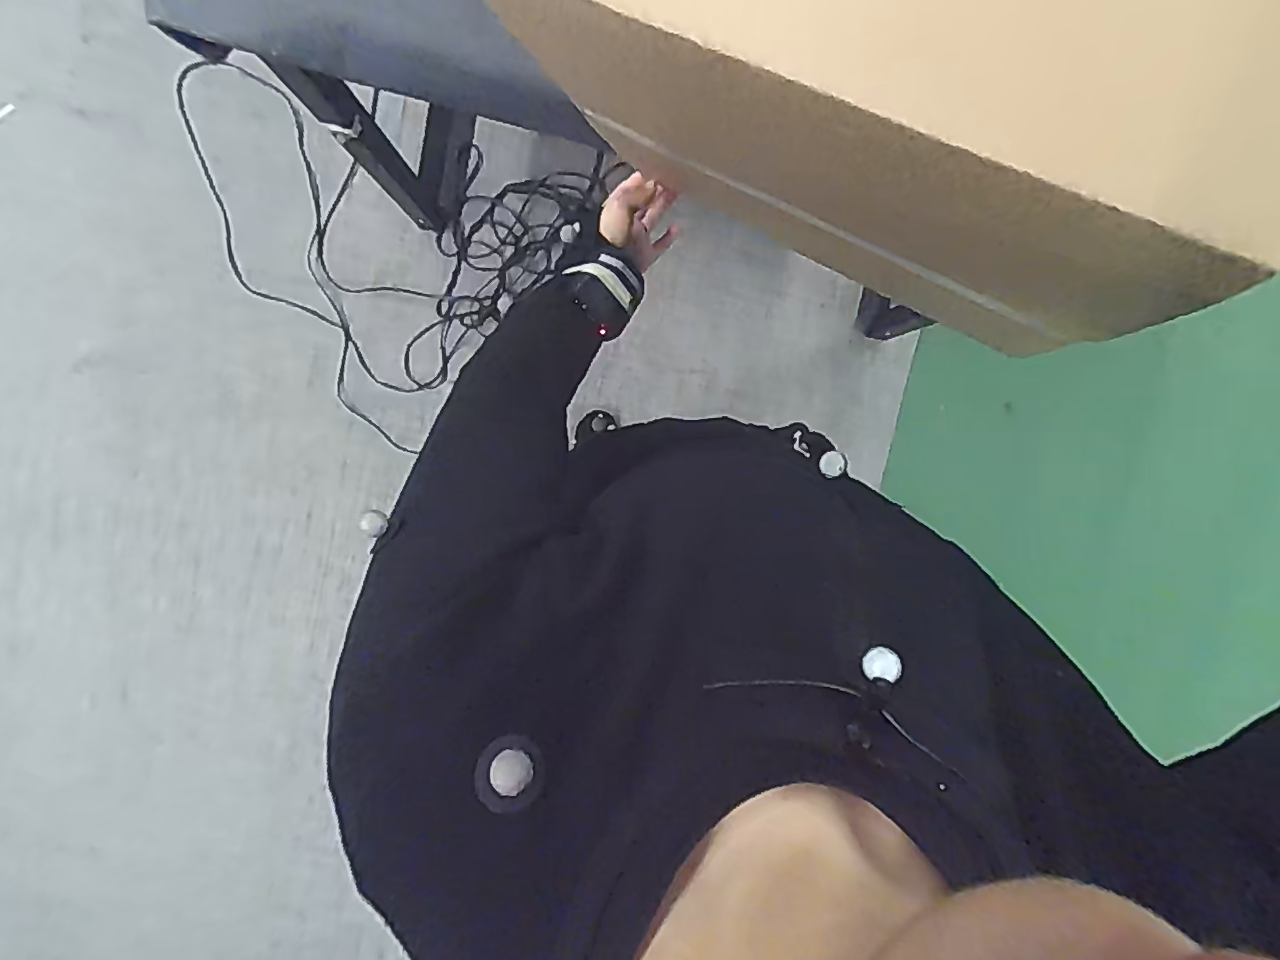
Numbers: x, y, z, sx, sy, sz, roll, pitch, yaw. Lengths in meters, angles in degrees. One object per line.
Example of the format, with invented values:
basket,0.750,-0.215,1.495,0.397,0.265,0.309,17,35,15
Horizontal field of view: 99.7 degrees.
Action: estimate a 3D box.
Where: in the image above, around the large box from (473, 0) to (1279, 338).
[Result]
large box,0.177,-0.321,0.334,0.408,0.320,0.320,32,107,14
